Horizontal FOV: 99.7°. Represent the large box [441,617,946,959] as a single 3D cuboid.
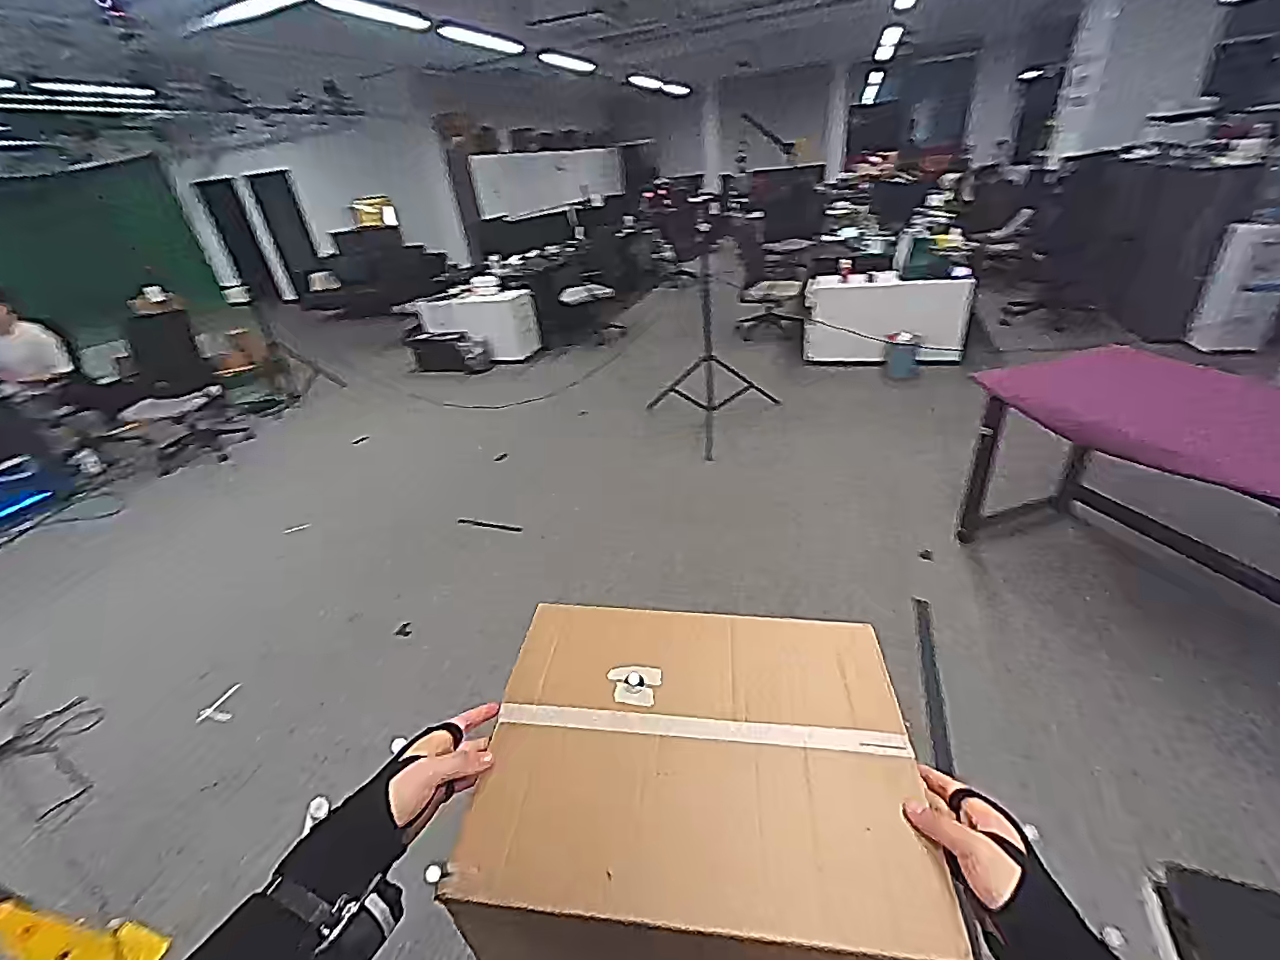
[{"bbox_3d":[0.054,0.383,0.626,0.408,0.320,0.320,1,33,6],"label":"large box"}]
